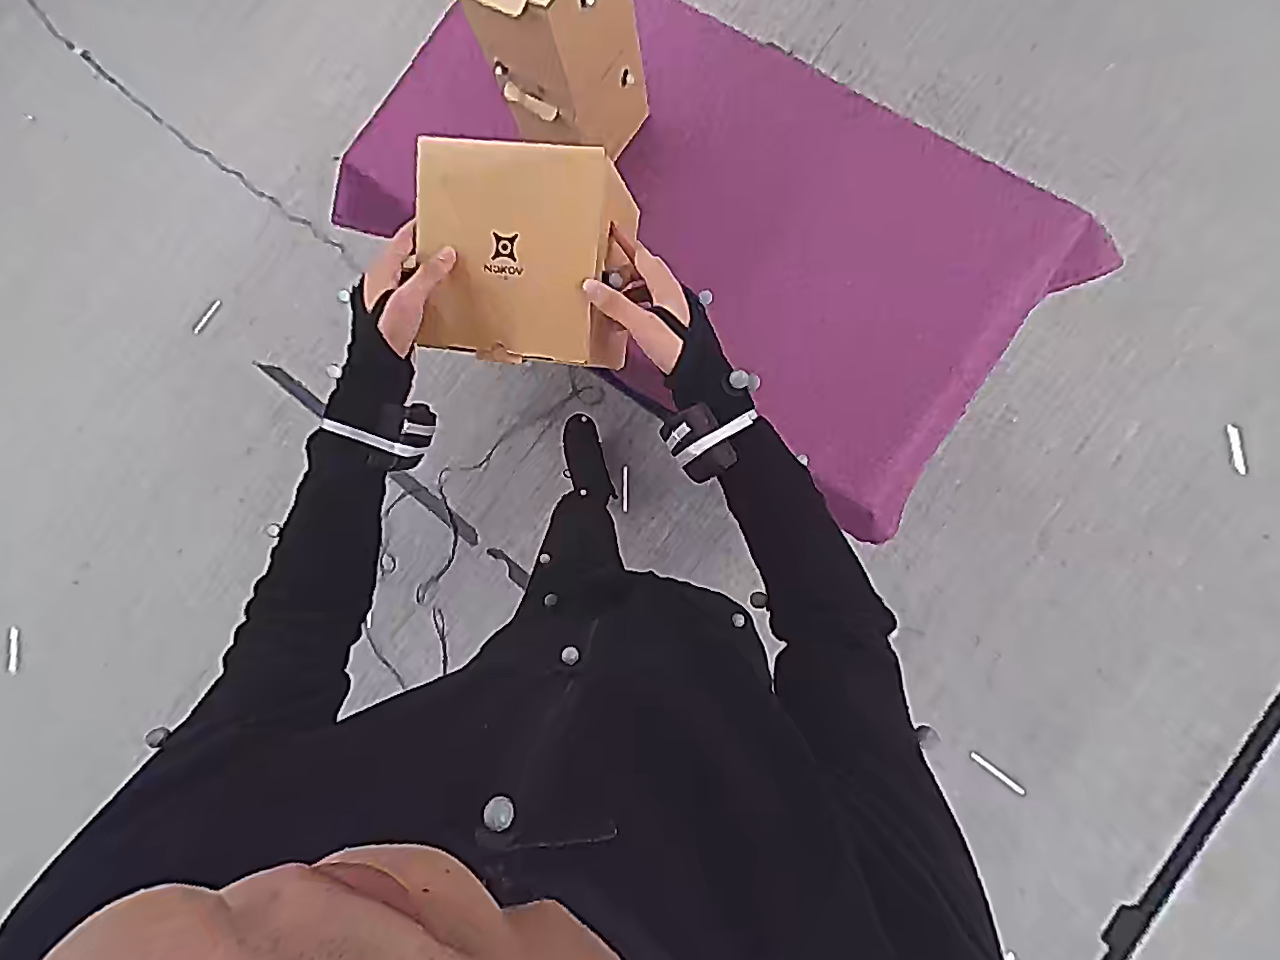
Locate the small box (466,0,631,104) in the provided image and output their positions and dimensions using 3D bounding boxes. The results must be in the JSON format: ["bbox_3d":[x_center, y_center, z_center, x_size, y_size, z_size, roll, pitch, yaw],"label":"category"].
[{"bbox_3d":[-0.126,-0.684,0.759,0.168,0.176,0.179,31,87,9],"label":"small box"}]

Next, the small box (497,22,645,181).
[{"bbox_3d":[-0.105,-0.664,0.920,0.168,0.176,0.179,36,89,10],"label":"small box"}]
